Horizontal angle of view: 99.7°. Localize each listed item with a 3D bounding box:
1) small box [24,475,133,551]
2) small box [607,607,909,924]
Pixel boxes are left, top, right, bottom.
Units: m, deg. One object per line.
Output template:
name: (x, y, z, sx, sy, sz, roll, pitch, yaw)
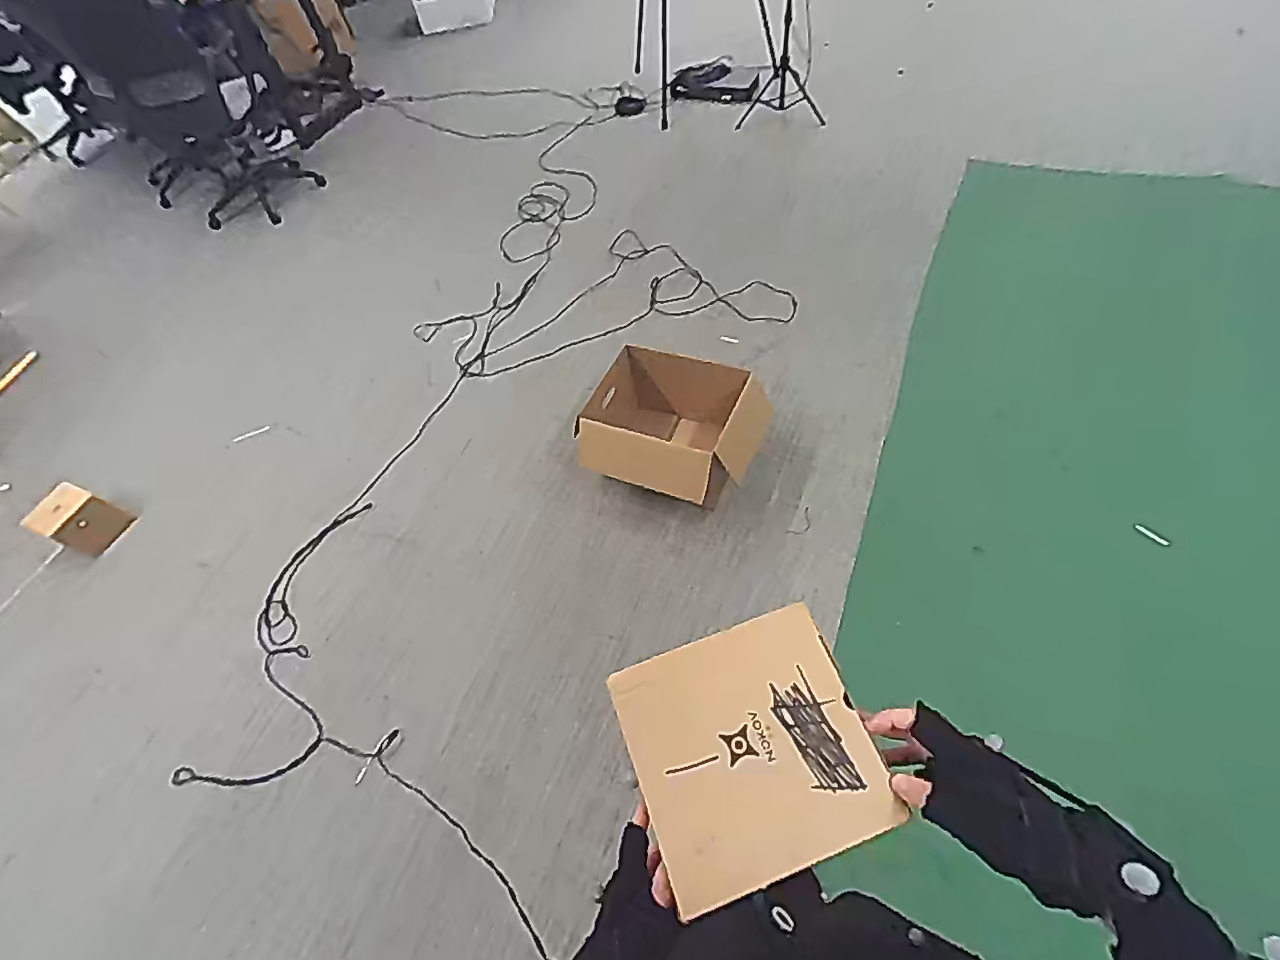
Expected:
small box: (-1.911, 0.117, 1.857, 0.168, 0.176, 0.179, 17, 62, 18)
small box: (0.081, 0.230, 0.465, 0.179, 0.176, 0.168, -18, 63, -7)
